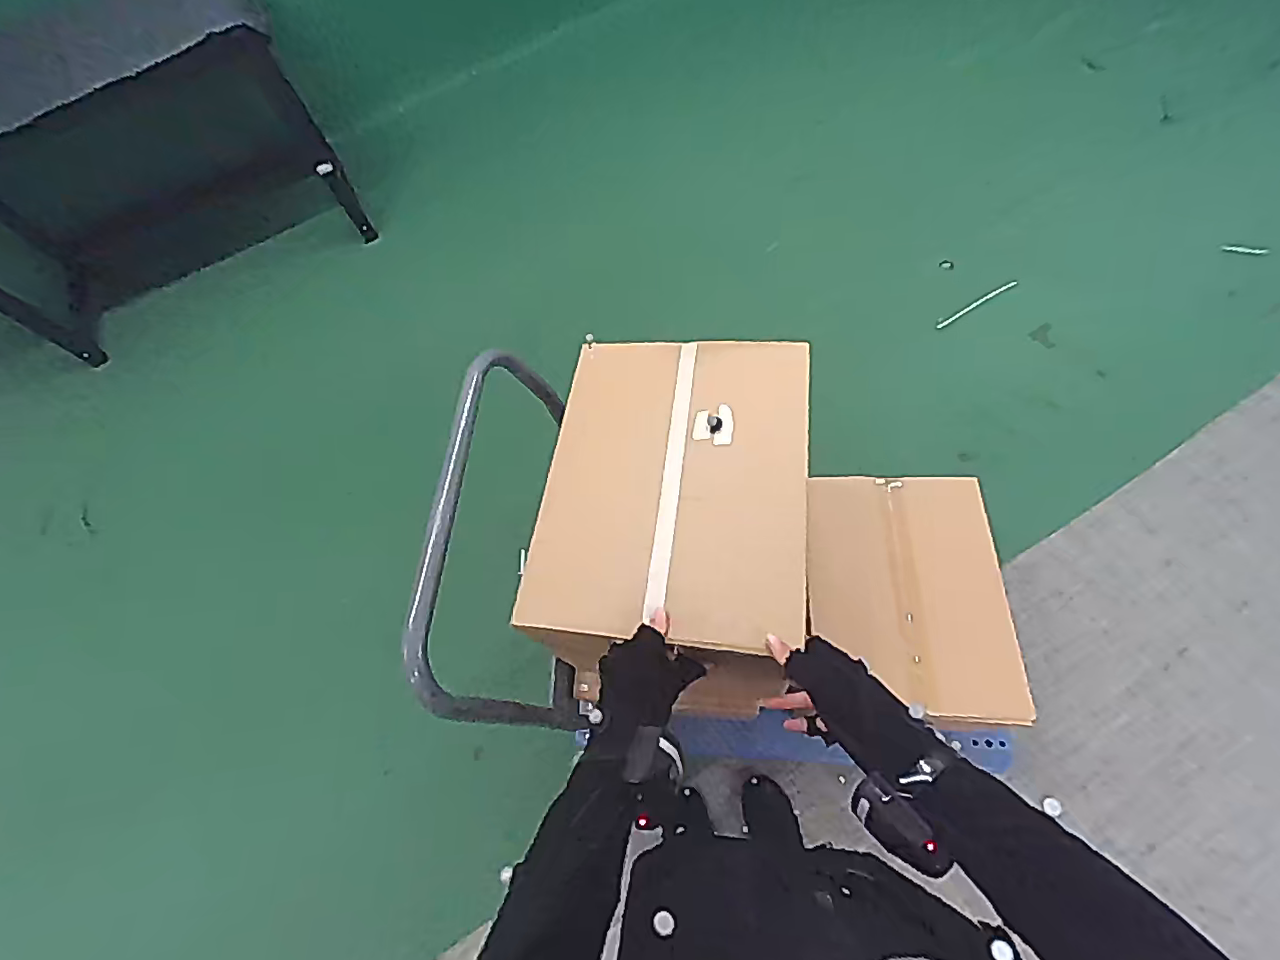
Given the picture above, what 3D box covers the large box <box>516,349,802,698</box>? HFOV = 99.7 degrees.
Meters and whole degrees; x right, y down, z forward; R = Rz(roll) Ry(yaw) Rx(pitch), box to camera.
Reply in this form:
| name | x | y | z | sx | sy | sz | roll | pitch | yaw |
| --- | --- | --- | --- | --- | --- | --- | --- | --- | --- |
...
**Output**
| name | x | y | z | sx | sy | sz | roll | pitch | yaw |
| --- | --- | --- | --- | --- | --- | --- | --- | --- | --- |
| large box | 0.063 | 0.069 | 0.782 | 0.320 | 0.320 | 0.408 | 3 | 61 | 13 |
